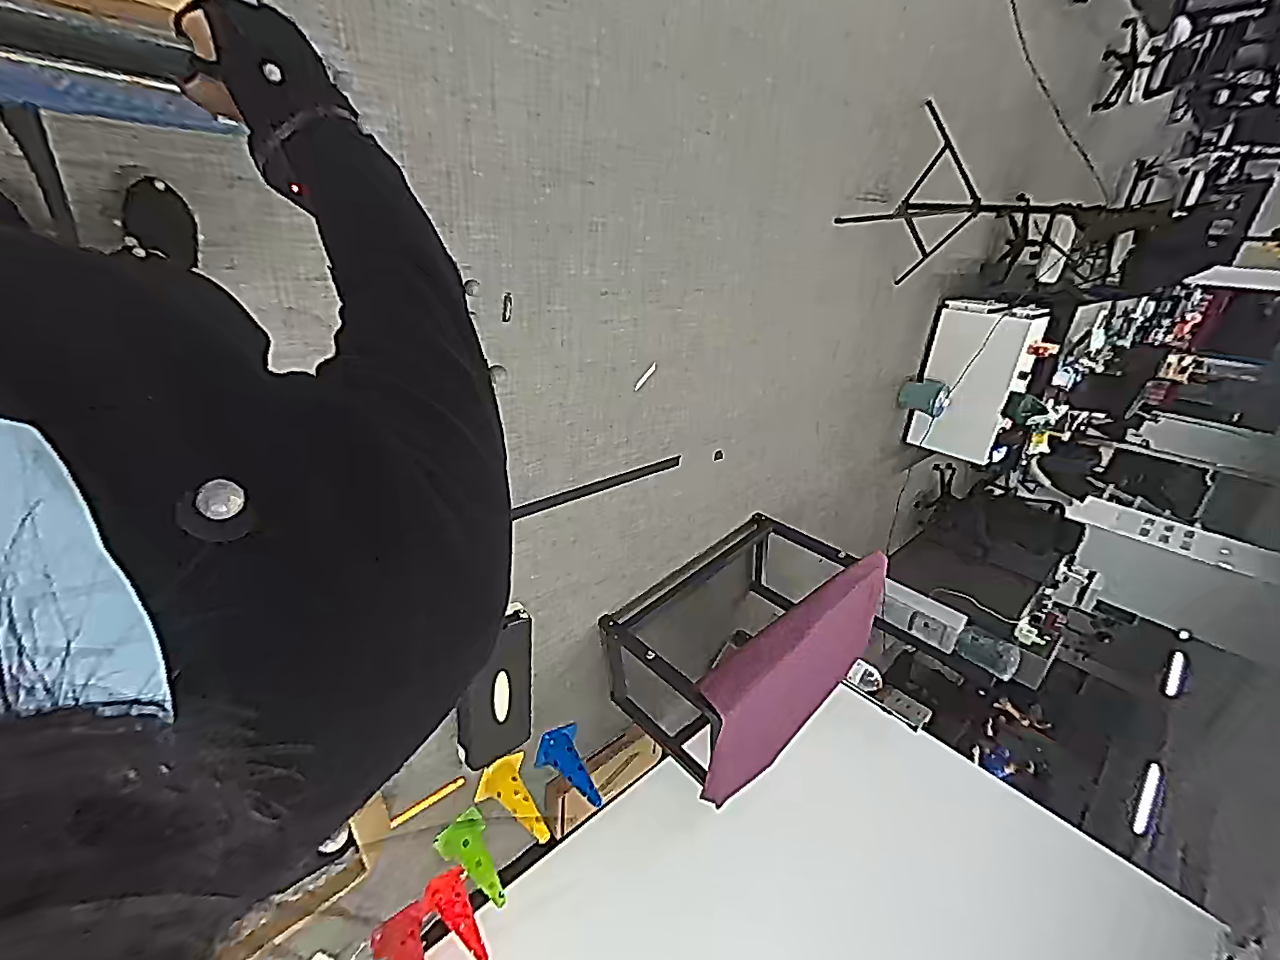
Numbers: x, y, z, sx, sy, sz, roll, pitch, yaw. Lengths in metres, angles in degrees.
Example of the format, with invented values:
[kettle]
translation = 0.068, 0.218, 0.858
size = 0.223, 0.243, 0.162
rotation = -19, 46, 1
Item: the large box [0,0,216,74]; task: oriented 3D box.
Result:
[large box]
translation = -0.797, -0.725, 0.625
size = 0.408, 0.320, 0.320
rotation = -17, 122, -41
